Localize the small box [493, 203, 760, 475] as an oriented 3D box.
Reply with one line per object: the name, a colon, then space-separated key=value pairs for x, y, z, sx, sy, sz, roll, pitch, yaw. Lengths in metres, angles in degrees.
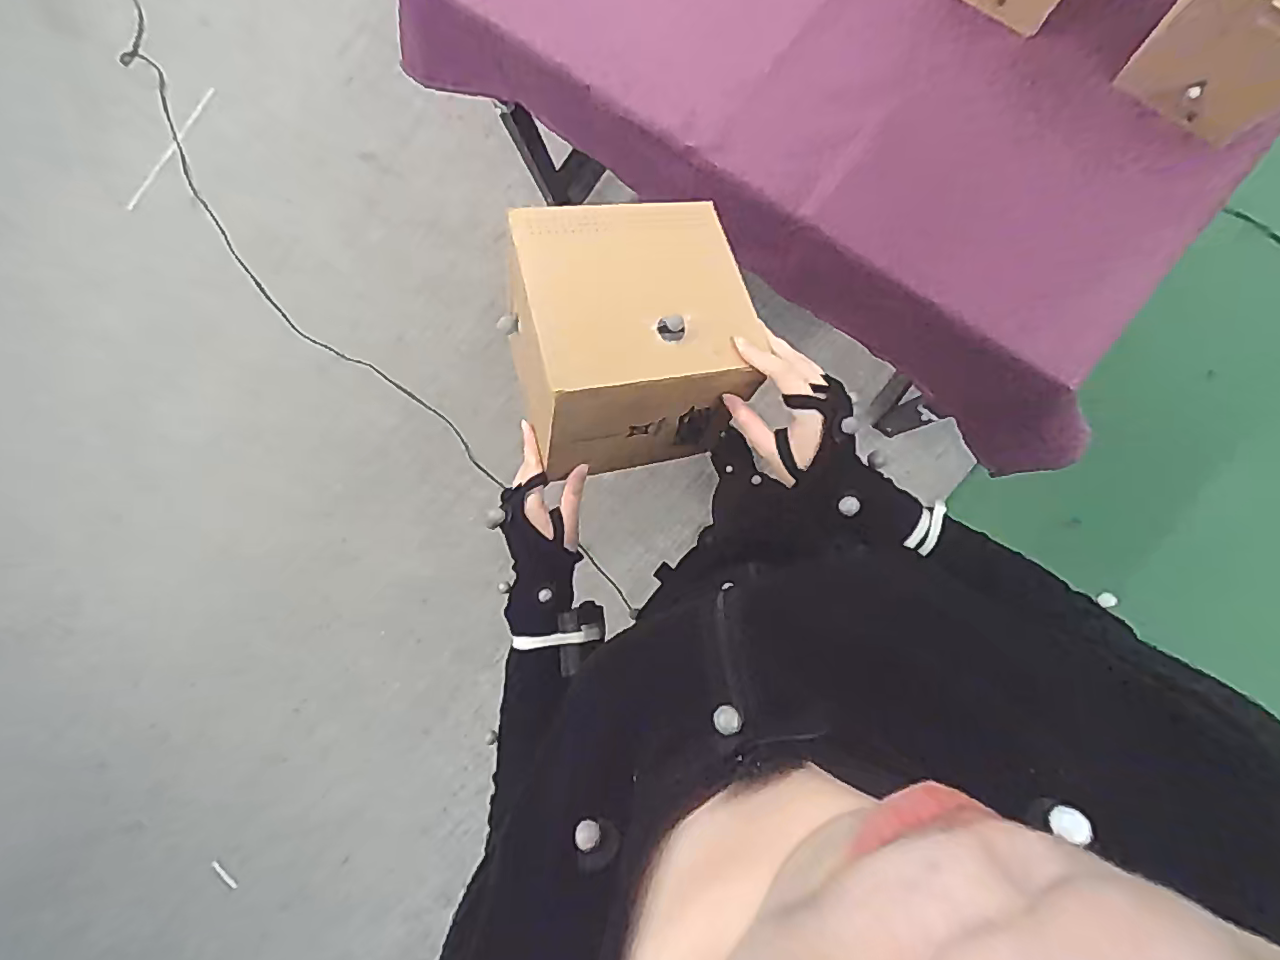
small box: x=-0.026 y=-0.123 z=0.486 sx=0.179 sy=0.168 sz=0.176 roll=-11 pitch=71 yaw=-17

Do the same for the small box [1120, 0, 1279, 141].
small box: x=0.737 y=-0.556 z=0.632 sx=0.168 sy=0.176 sz=0.179 roll=39 pitch=96 yaw=8

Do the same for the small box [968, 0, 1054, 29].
small box: x=0.514 y=-0.736 z=0.672 sx=0.168 sy=0.176 sz=0.179 roll=37 pitch=94 yaw=7
